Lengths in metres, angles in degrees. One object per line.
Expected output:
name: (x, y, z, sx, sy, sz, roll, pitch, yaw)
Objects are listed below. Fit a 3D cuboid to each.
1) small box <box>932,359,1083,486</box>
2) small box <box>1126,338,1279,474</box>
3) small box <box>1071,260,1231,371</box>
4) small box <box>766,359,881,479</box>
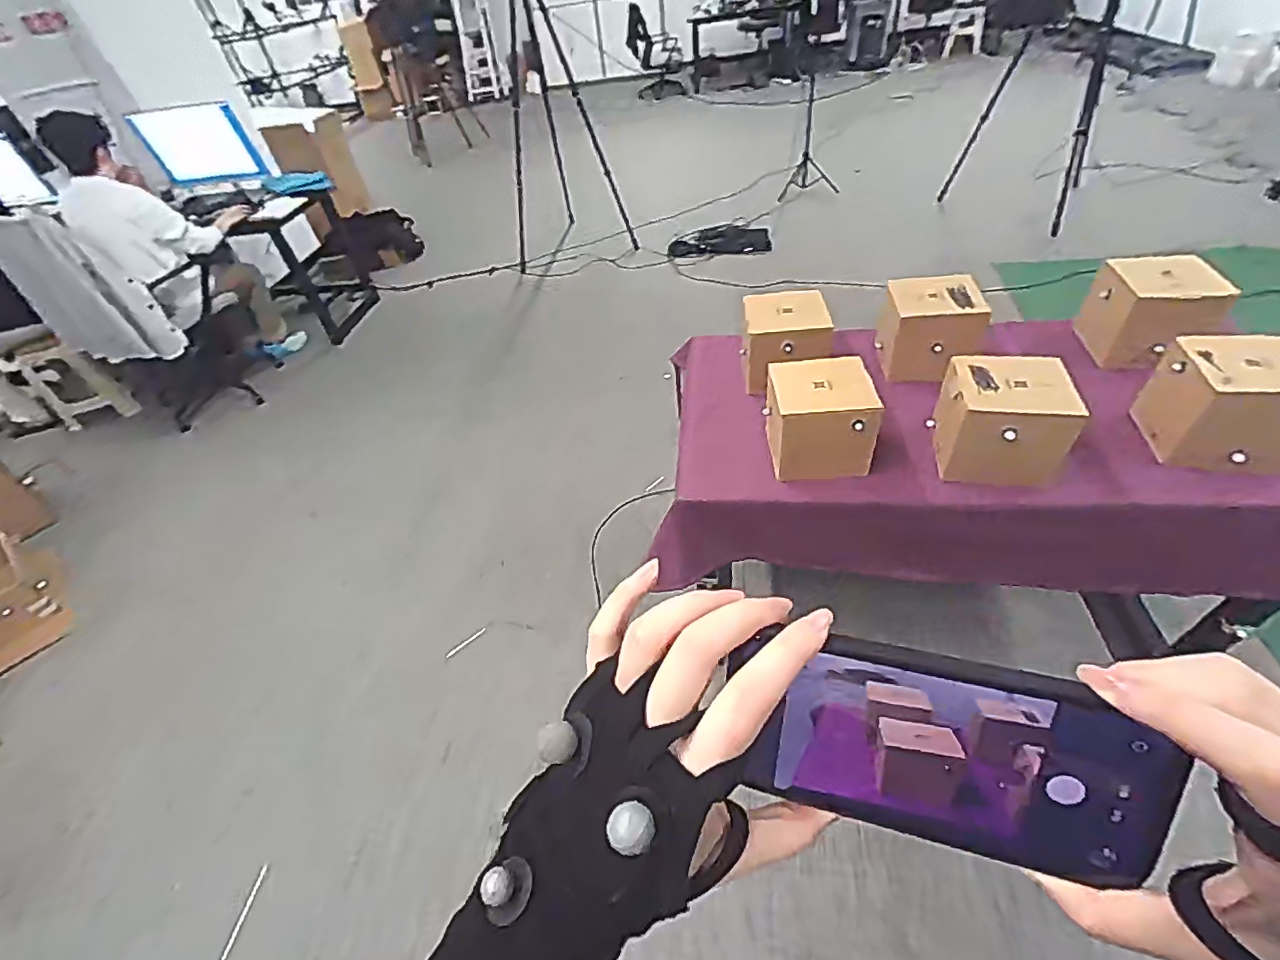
small box: (0.650, -0.105, 0.988, 0.179, 0.176, 0.168, 5, 46, 14)
small box: (1.018, -0.128, 0.946, 0.179, 0.176, 0.168, 6, 46, 15)
small box: (1.074, -0.352, 1.159, 0.168, 0.176, 0.179, 2, 47, 13)
small box: (0.344, -0.115, 1.054, 0.179, 0.176, 0.168, -3, 45, 5)
